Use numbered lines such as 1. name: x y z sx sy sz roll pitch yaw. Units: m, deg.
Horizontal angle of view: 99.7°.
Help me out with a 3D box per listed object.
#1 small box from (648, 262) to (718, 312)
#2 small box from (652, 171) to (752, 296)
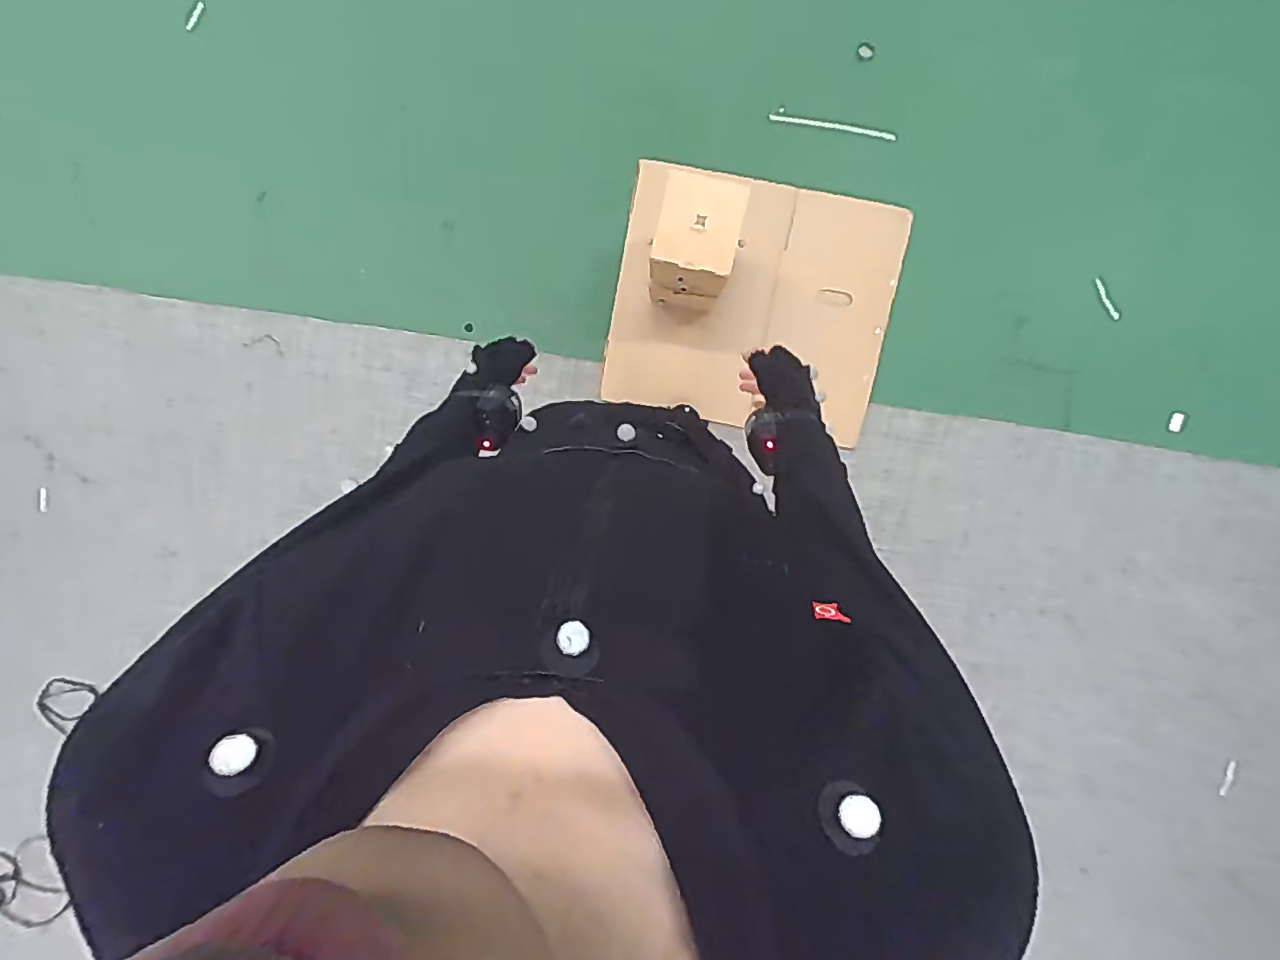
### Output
1. small box: 0.119 -0.516 1.297 0.168 0.176 0.179 12 97 1
2. small box: 0.122 -0.506 1.134 0.168 0.176 0.179 13 98 0
